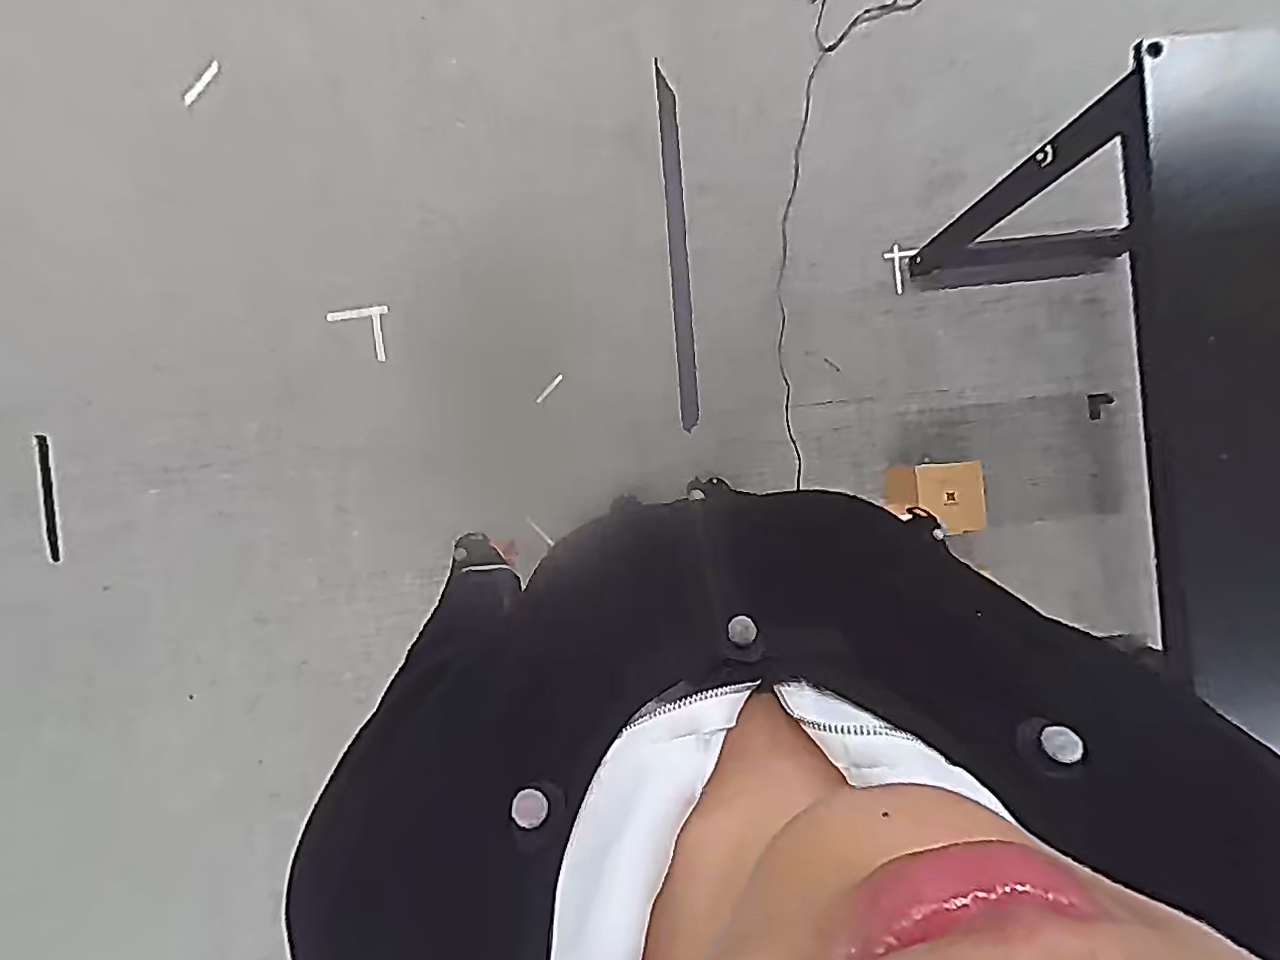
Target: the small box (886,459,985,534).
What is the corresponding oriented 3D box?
[{"bbox_3d":[0.765,0.040,1.413,0.168,0.176,0.179,-5,89,0],"label":"small box"}]
